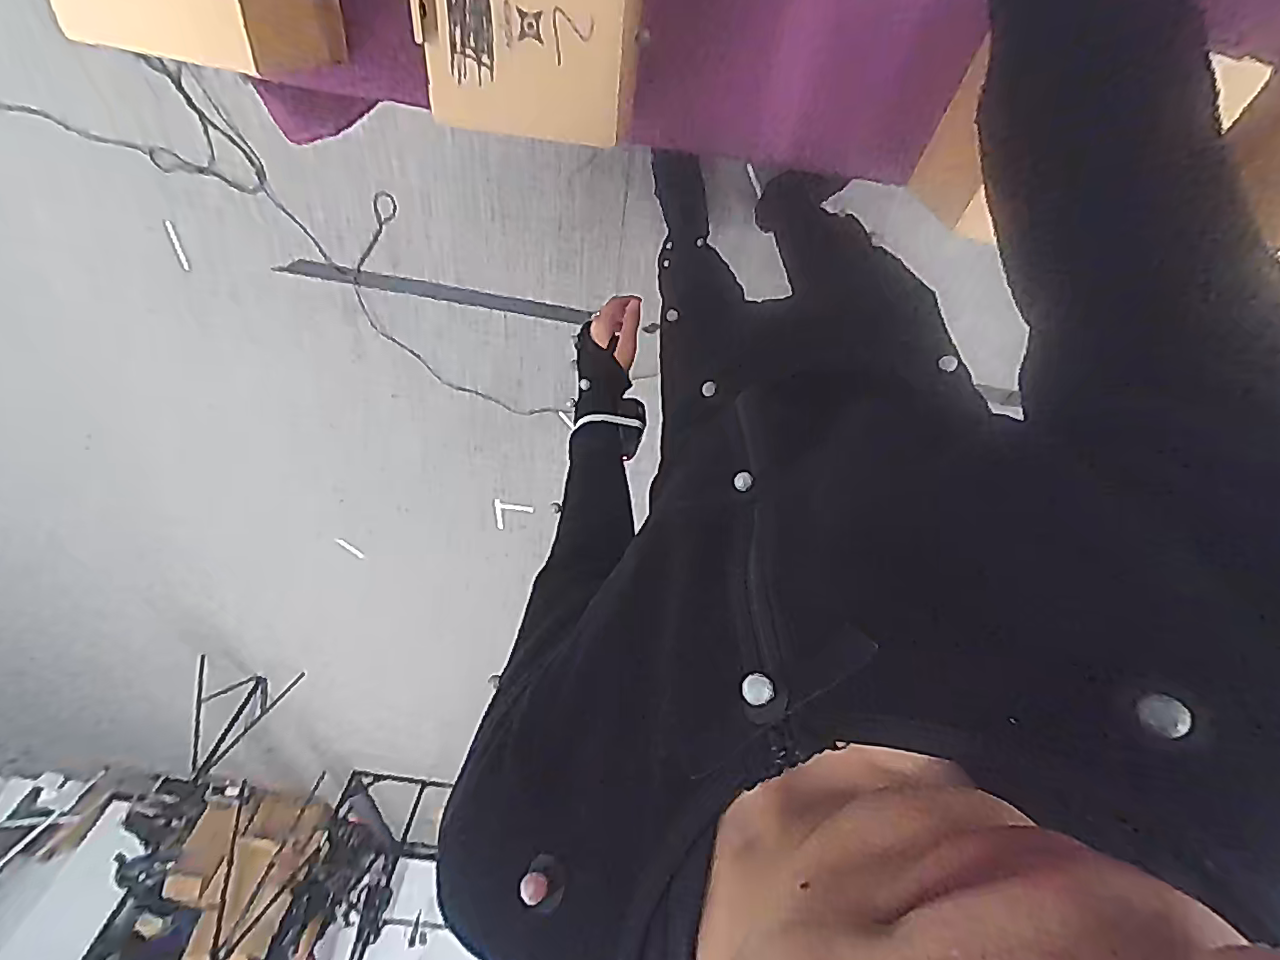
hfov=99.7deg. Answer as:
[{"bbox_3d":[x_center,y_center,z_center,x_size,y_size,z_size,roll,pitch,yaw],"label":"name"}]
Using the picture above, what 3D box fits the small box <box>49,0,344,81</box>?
[{"bbox_3d":[-0.414,-0.491,0.500,0.179,0.176,0.168,9,132,-2],"label":"small box"}]
